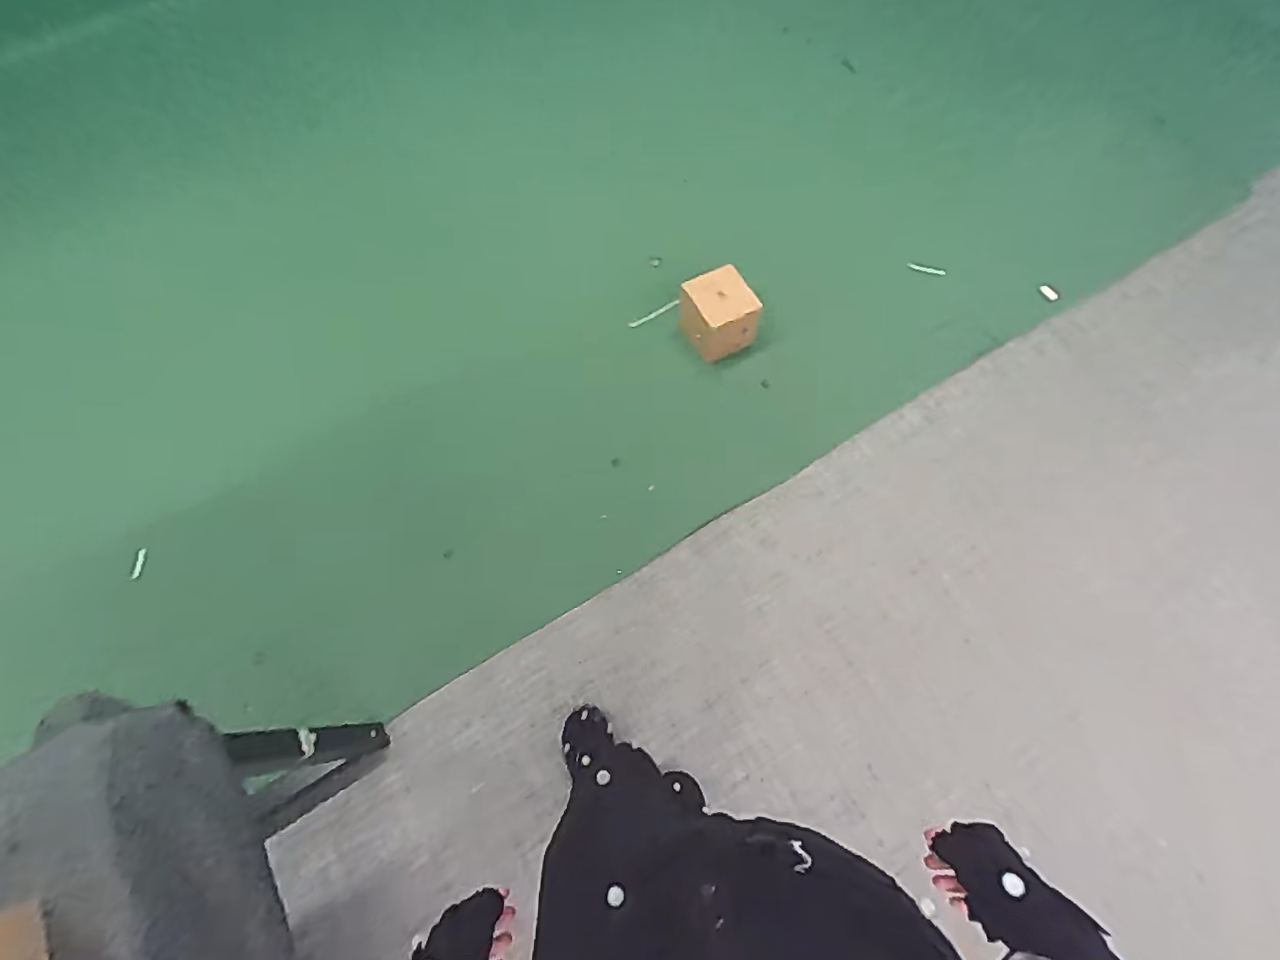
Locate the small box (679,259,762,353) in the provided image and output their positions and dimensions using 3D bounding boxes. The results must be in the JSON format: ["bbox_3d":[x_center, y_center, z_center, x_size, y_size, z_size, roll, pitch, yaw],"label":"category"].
[{"bbox_3d":[0.224,-0.490,1.554,0.168,0.176,0.179,-23,69,-11],"label":"small box"}]
